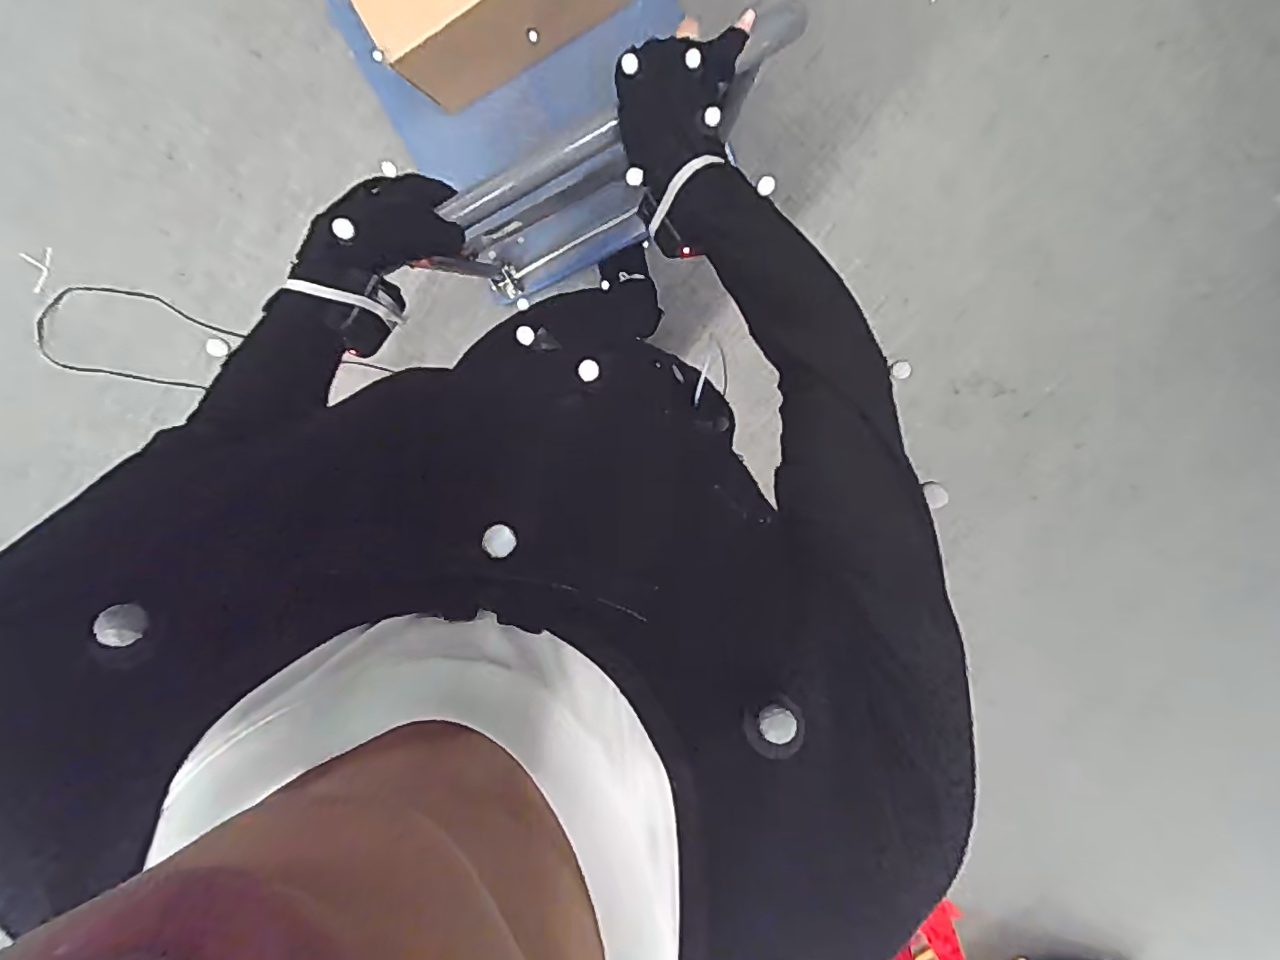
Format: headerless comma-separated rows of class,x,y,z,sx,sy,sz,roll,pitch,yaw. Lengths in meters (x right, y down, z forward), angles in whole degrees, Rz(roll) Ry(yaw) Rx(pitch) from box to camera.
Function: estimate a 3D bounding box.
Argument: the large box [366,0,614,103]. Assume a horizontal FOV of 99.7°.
large box,-0.241,-0.873,0.823,0.408,0.320,0.320,-26,110,11
